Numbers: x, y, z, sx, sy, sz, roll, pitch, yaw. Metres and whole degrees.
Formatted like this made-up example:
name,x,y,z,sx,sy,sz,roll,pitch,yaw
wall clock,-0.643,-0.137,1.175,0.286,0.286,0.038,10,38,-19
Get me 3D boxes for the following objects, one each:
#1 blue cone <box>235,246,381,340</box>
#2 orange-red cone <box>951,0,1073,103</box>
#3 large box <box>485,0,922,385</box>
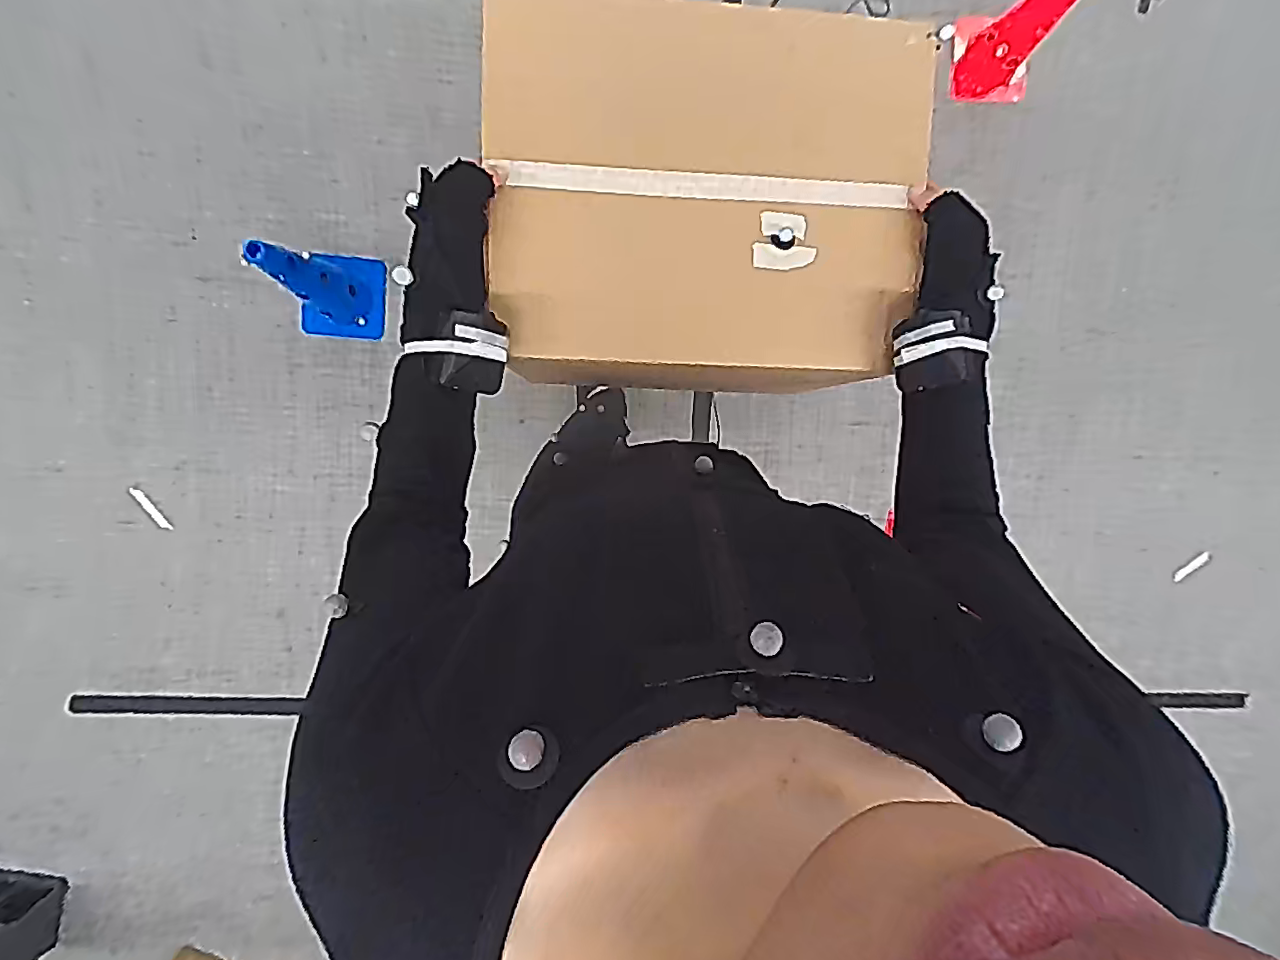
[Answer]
name,x,y,z,sx,sy,sz,roll,pitch,yaw
blue cone,-0.741,-0.438,1.196,0.192,0.380,0.193,6,95,-4
orange-red cone,0.926,-1.086,1.246,0.198,0.360,0.199,0,94,-5
large box,0.047,-0.284,0.640,0.408,0.320,0.320,1,95,-6
